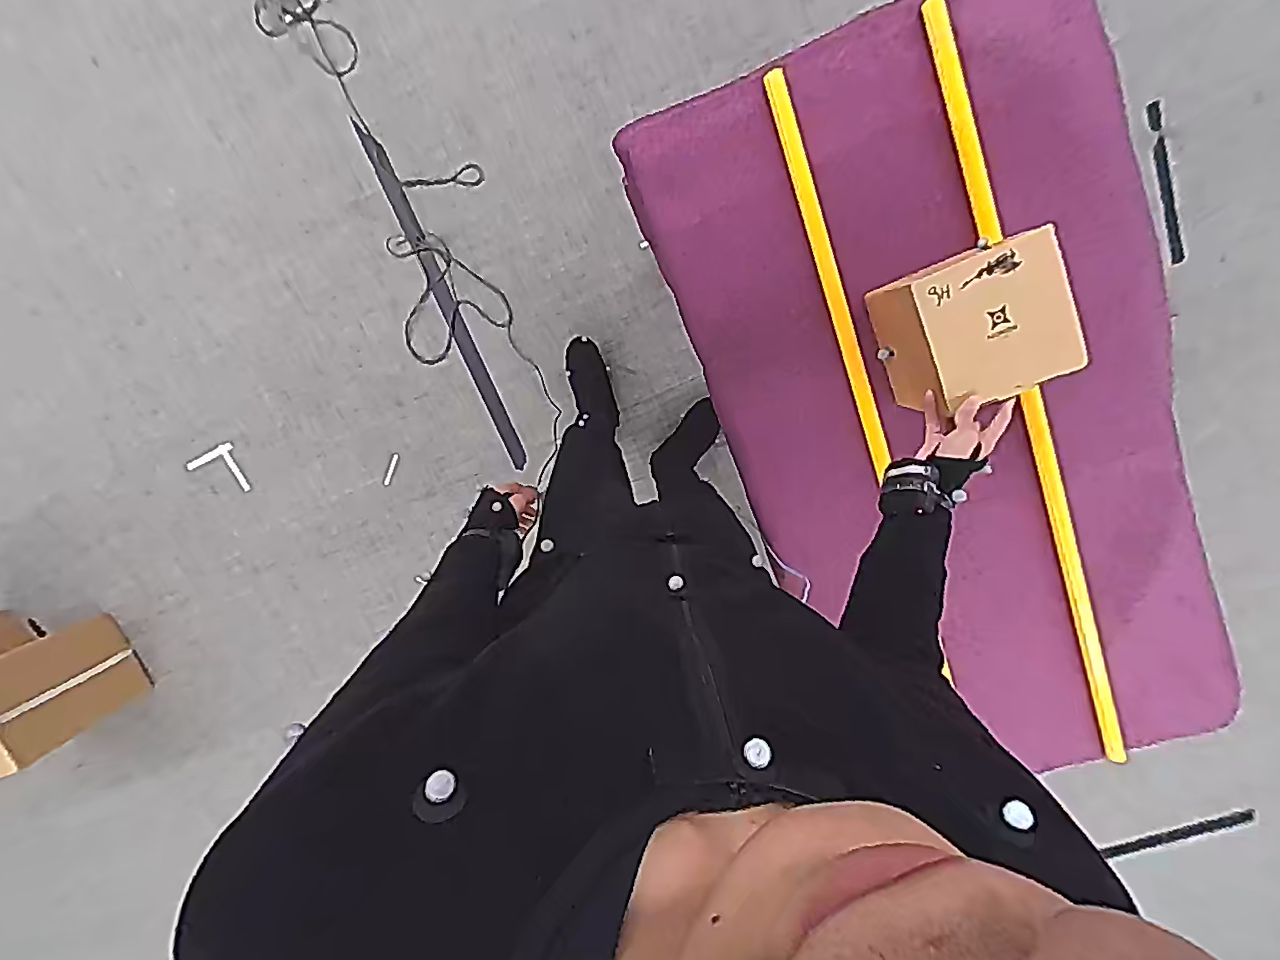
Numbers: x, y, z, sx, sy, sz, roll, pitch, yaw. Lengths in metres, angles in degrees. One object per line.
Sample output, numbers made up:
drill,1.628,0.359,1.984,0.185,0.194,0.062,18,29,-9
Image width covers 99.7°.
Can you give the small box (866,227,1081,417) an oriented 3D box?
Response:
small box,0.428,-0.204,0.719,0.168,0.176,0.179,-21,102,8
